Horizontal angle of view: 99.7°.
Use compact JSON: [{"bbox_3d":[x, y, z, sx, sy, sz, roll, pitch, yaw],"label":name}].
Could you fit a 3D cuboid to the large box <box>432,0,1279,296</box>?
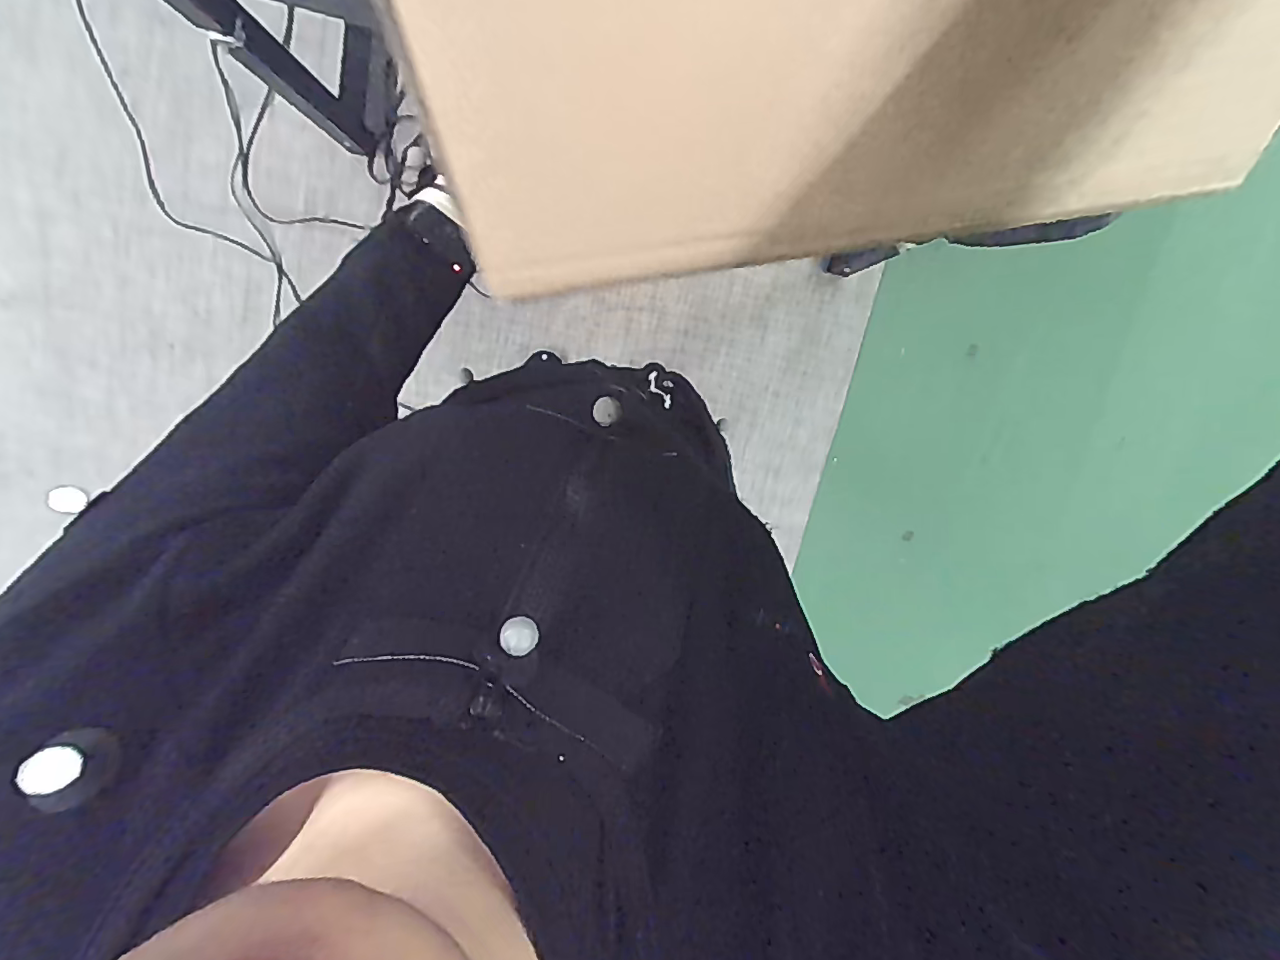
[{"bbox_3d":[0.050,-0.347,0.246,0.320,0.408,0.320,-11,139,-1],"label":"large box"}]
